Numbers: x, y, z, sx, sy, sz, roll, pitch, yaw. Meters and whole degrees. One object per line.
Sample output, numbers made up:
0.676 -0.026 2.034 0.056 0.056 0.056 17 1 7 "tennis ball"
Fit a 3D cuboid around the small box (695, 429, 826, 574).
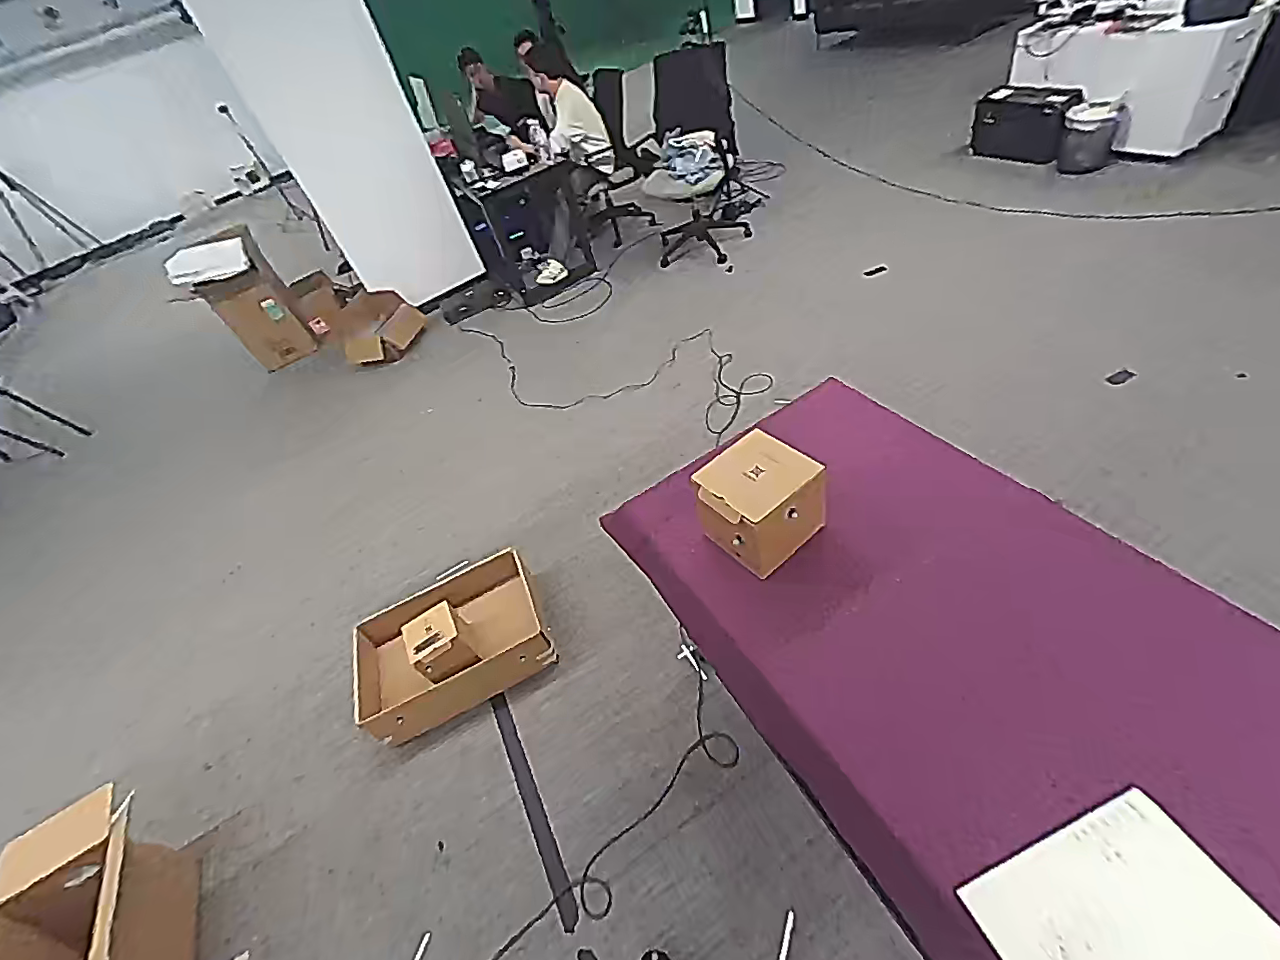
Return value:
0.231 0.042 1.014 0.179 0.176 0.168 -36 47 -16 "small box"
